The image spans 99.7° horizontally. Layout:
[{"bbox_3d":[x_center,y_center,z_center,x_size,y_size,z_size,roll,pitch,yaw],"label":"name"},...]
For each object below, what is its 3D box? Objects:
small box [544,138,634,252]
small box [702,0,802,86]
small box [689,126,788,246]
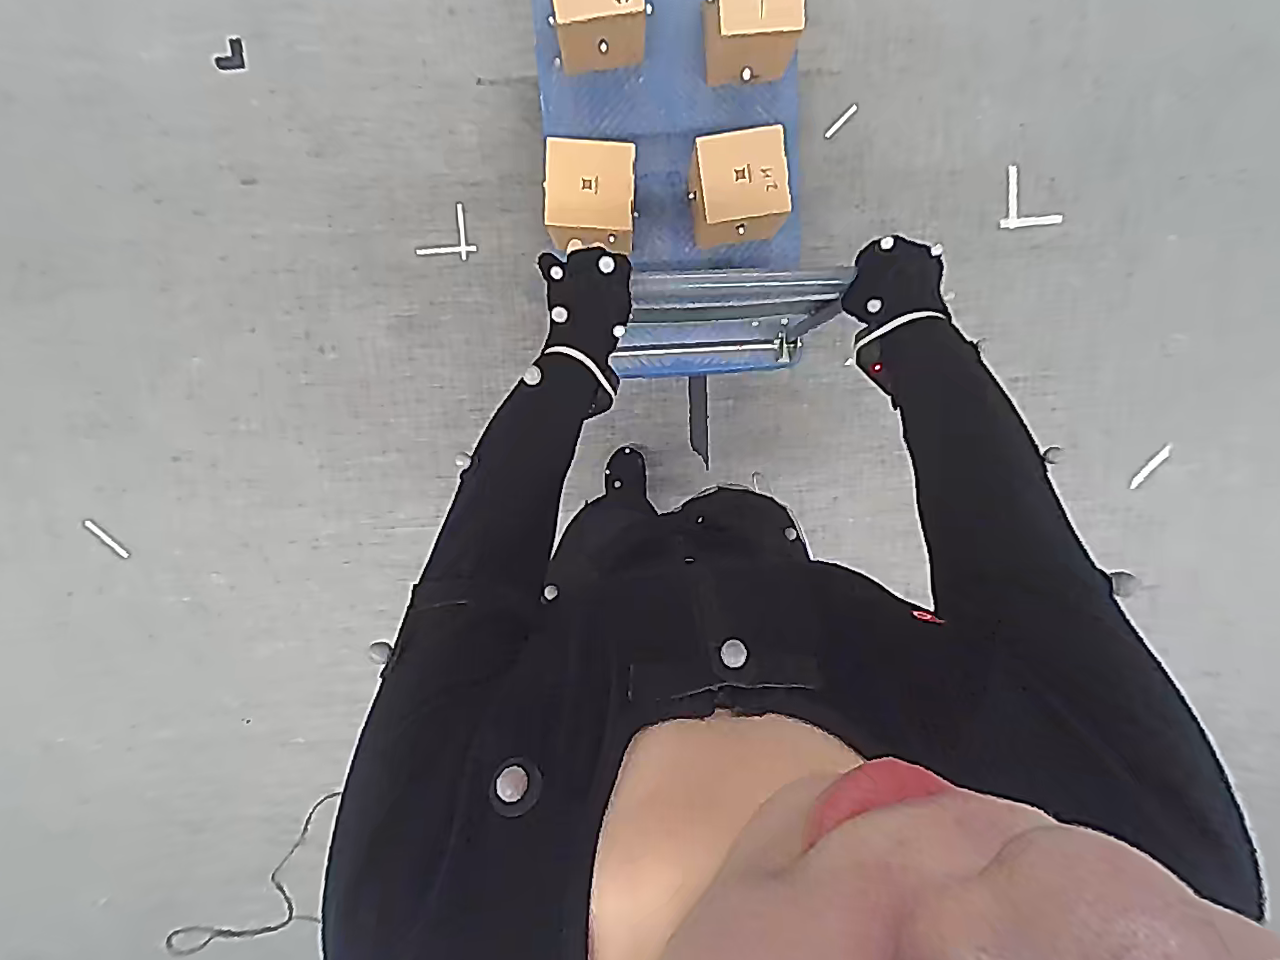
[{"bbox_3d":[-0.105,-0.597,1.152,0.179,0.176,0.168,2,97,-3],"label":"small box"},{"bbox_3d":[0.224,-0.958,1.114,0.168,0.176,0.179,-5,98,-1],"label":"small box"},{"bbox_3d":[0.202,-0.616,1.156,0.179,0.176,0.168,-9,97,0],"label":"small box"}]
